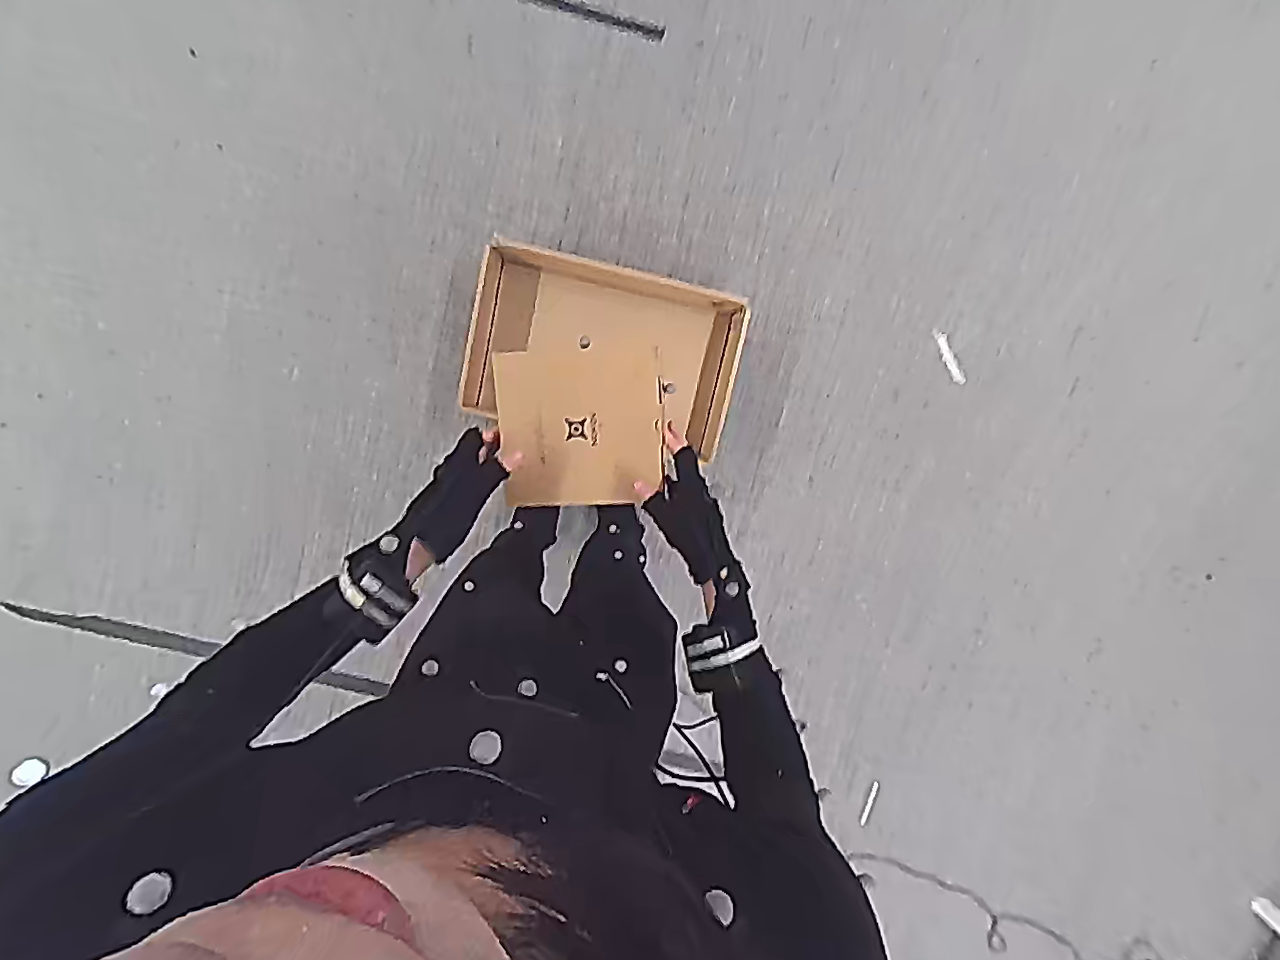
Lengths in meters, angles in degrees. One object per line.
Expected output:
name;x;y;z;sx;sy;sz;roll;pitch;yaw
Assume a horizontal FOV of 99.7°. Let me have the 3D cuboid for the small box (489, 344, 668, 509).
small box;-0.058;-0.066;0.630;0.179;0.176;0.168;-3;99;4
